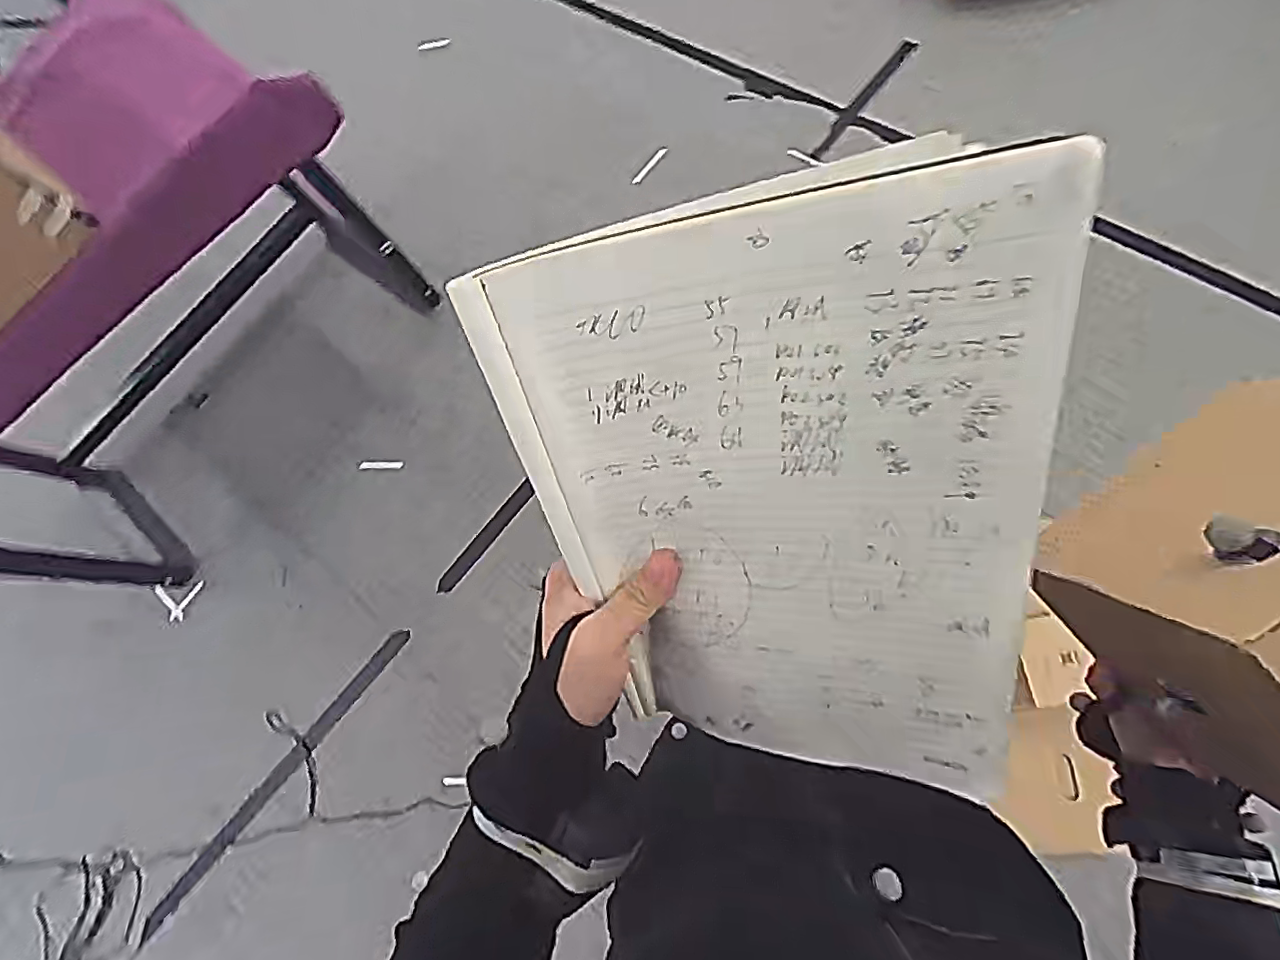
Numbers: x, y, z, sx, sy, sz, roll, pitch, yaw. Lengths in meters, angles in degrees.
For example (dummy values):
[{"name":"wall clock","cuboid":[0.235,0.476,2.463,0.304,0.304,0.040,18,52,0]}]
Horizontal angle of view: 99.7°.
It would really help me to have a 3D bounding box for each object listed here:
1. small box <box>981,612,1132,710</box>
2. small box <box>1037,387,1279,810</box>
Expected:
[{"name":"small box","cuboid":[0.860,0.372,1.134,0.179,0.176,0.168,-11,74,8]},{"name":"small box","cuboid":[0.349,0.064,0.268,0.179,0.176,0.168,-42,89,7]}]
